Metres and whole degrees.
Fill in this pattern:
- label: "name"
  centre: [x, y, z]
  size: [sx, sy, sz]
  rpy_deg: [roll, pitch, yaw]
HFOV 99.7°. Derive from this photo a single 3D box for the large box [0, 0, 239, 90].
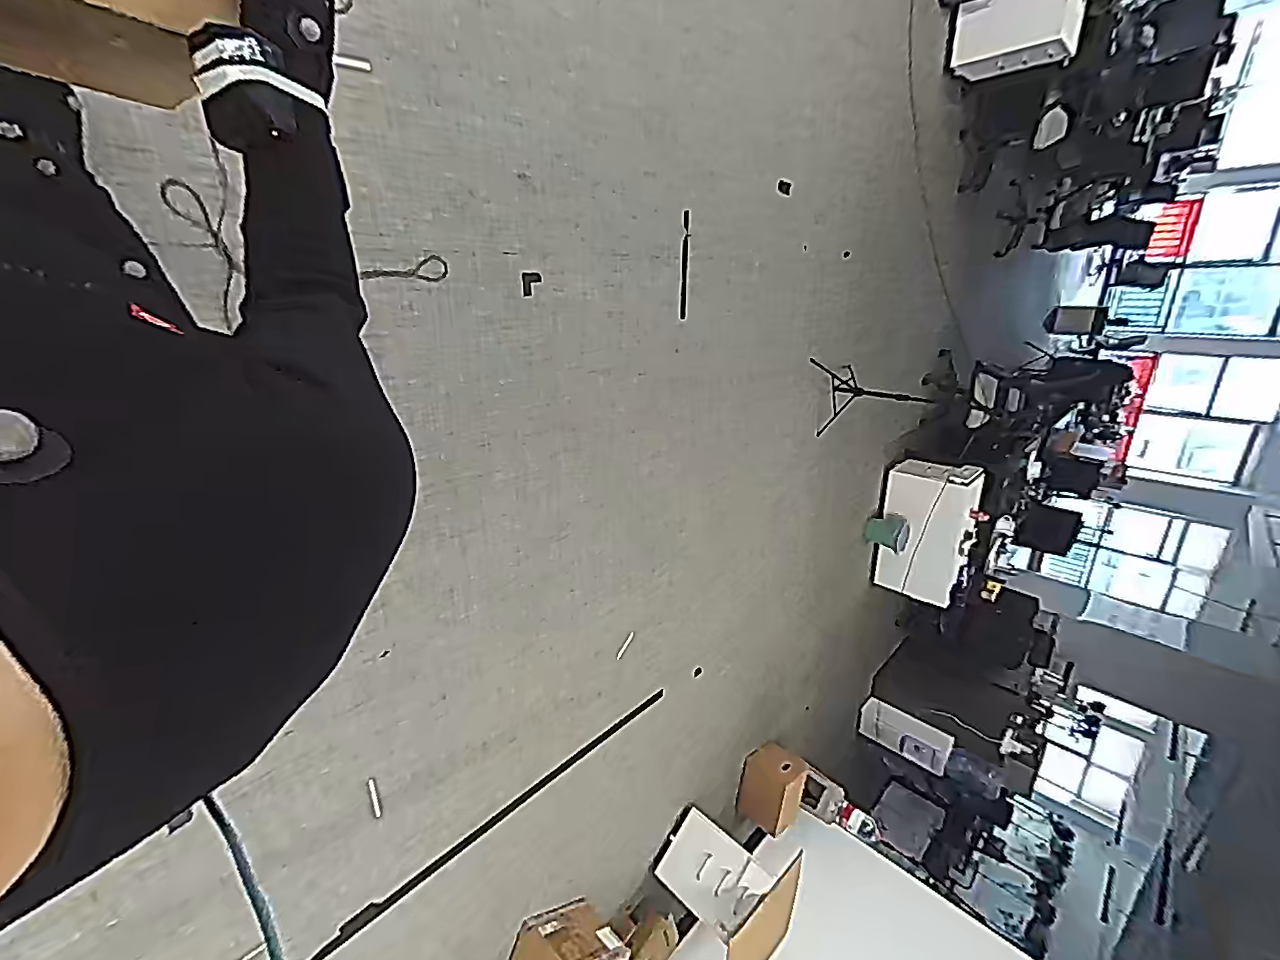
- label: "large box"
  centre: [-0.526, -0.486, 0.307]
  size: [0.408, 0.320, 0.320]
  rpy_deg: [-13, 118, -46]
